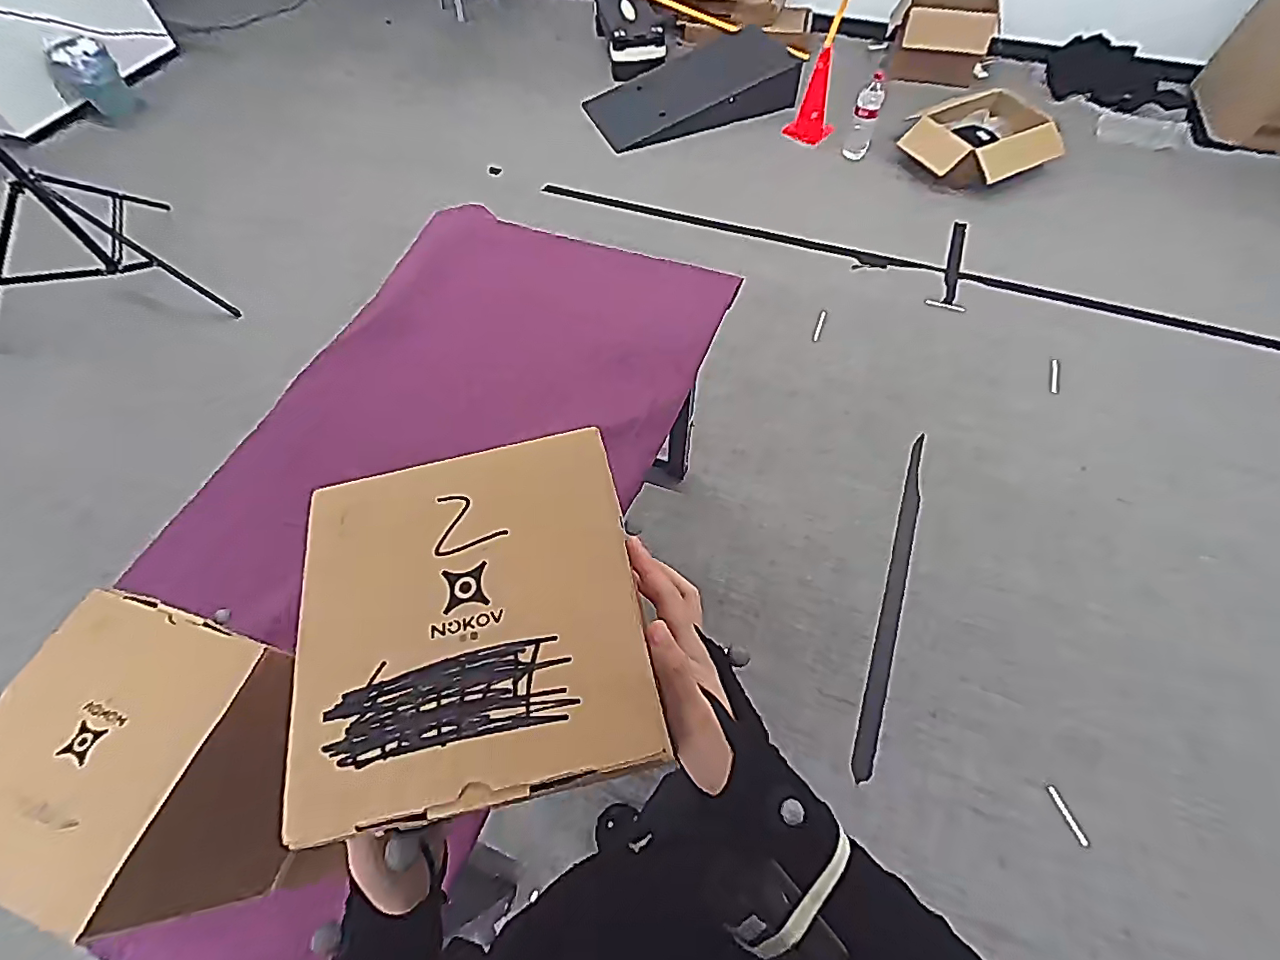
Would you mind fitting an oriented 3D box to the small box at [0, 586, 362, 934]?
[{"bbox_3d":[-0.363,0.213,0.438,0.168,0.176,0.179,14,62,11],"label":"small box"}]

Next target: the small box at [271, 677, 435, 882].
[{"bbox_3d":[-0.357,0.294,0.578,0.179,0.176,0.168,16,62,10],"label":"small box"}]
